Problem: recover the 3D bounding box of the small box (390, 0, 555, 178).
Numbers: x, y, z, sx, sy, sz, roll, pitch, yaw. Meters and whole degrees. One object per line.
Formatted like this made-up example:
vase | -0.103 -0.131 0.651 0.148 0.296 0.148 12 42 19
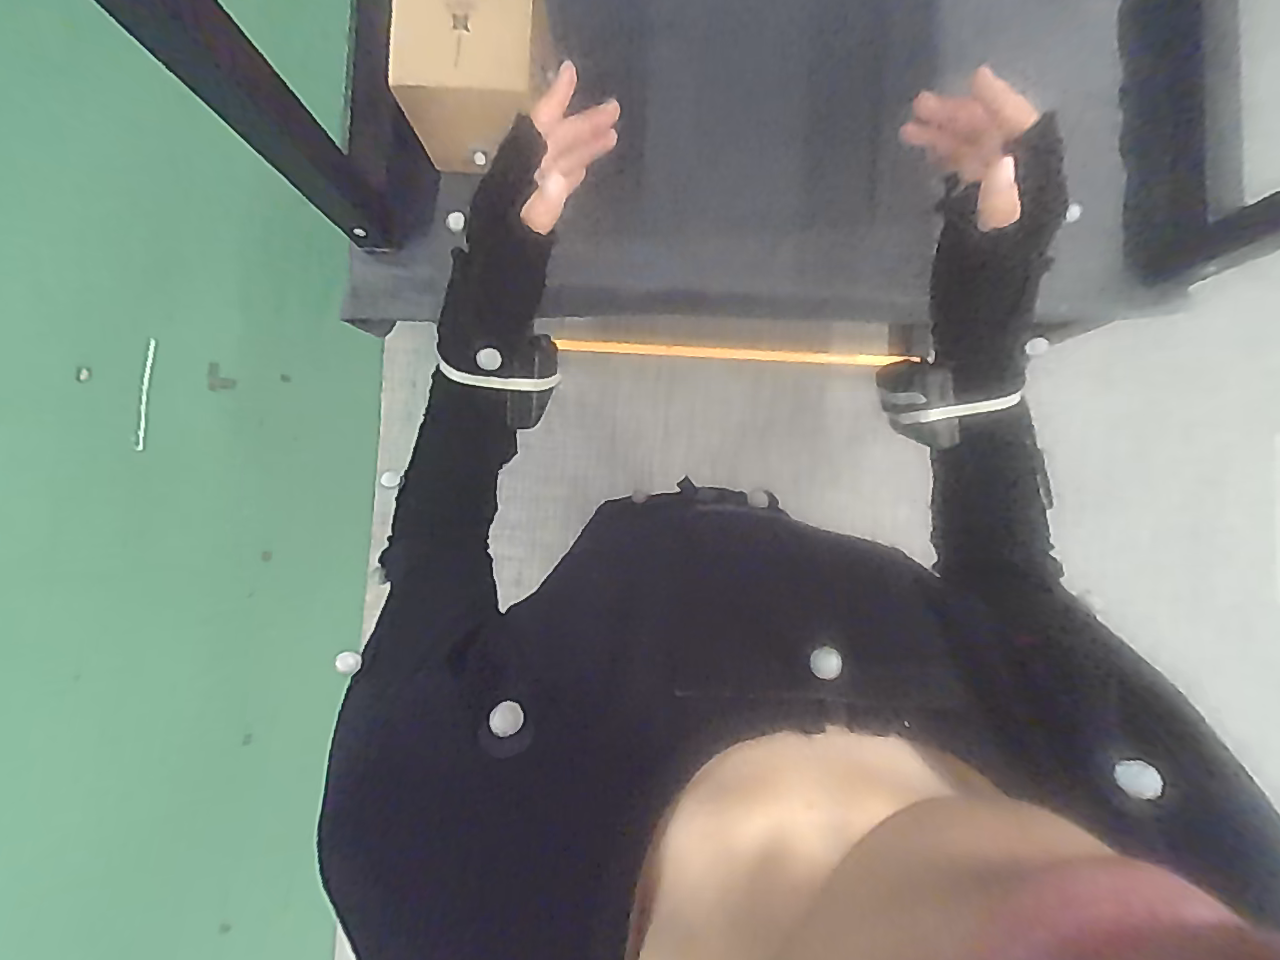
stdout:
small box | -0.208 -0.539 0.716 0.168 0.176 0.179 3 87 -1
